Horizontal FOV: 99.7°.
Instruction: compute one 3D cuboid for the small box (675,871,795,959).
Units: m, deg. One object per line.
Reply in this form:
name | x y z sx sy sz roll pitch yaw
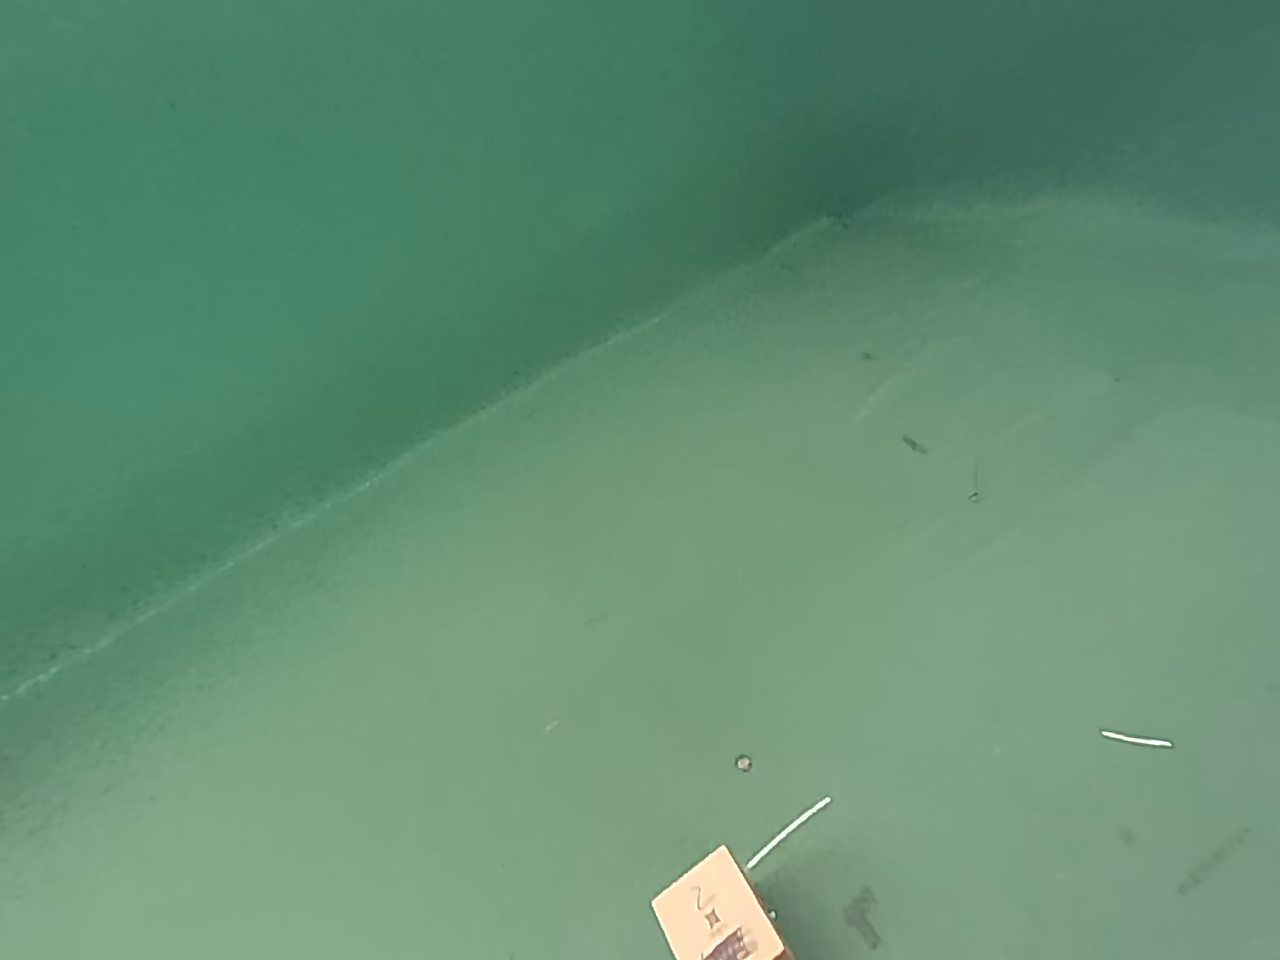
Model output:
small box | 0.197 0.933 1.078 0.168 0.176 0.179 -30 42 -9
